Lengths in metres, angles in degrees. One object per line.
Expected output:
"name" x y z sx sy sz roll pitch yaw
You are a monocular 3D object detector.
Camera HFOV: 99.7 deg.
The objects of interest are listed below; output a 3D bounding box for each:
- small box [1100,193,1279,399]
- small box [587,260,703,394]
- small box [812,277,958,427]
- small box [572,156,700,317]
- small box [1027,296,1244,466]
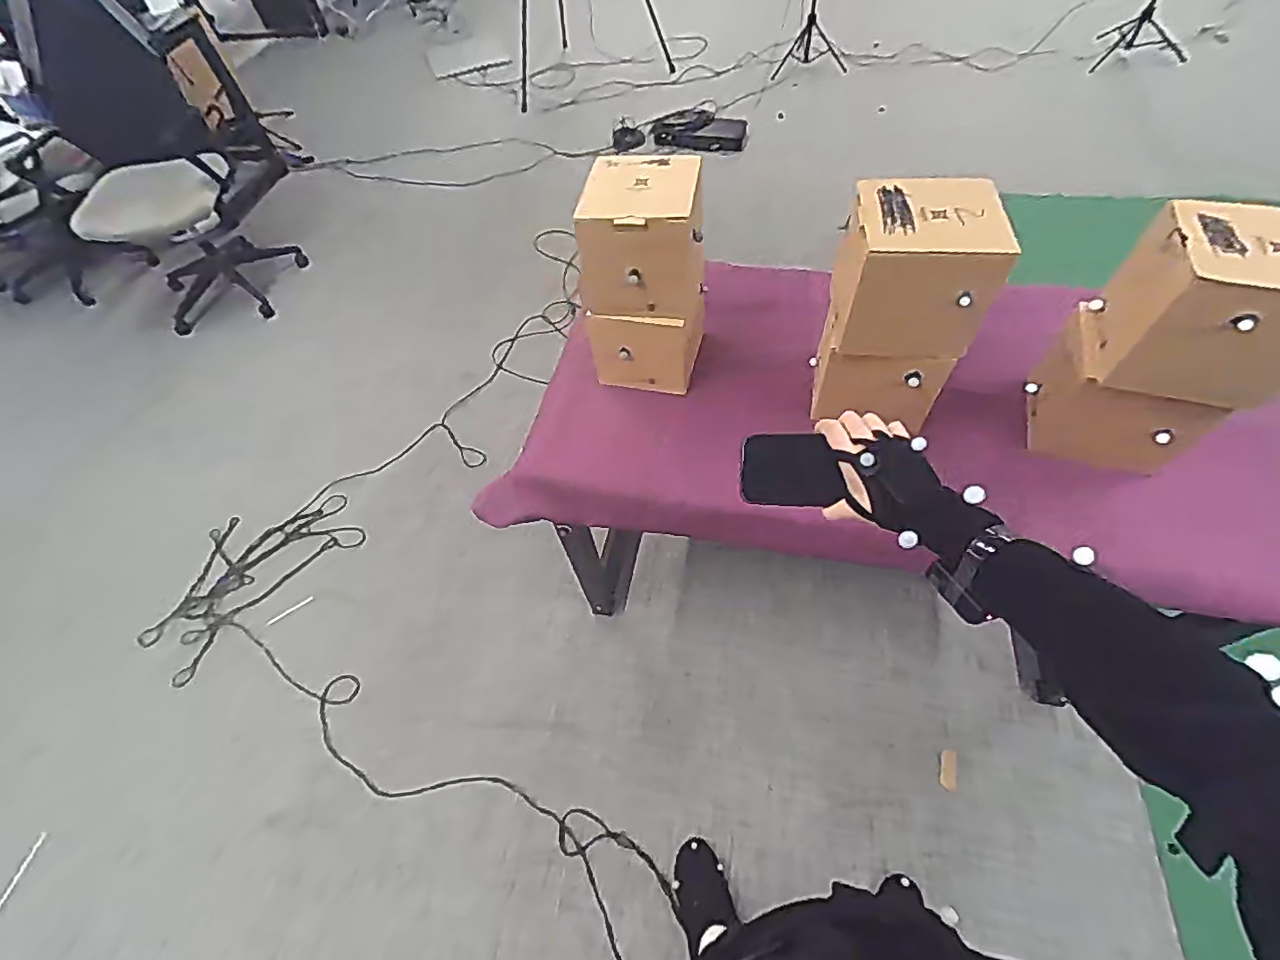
"small box" 0.706 -0.220 0.661 0.179 0.176 0.168 14 58 15
"small box" 0.019 -0.278 0.979 0.168 0.176 0.179 9 57 13
"small box" 0.391 -0.204 0.884 0.179 0.176 0.168 8 57 13
"small box" 0.005 -0.377 0.849 0.168 0.176 0.179 5 57 9
"small box" 0.716 -0.142 0.805 0.179 0.176 0.168 14 58 16
